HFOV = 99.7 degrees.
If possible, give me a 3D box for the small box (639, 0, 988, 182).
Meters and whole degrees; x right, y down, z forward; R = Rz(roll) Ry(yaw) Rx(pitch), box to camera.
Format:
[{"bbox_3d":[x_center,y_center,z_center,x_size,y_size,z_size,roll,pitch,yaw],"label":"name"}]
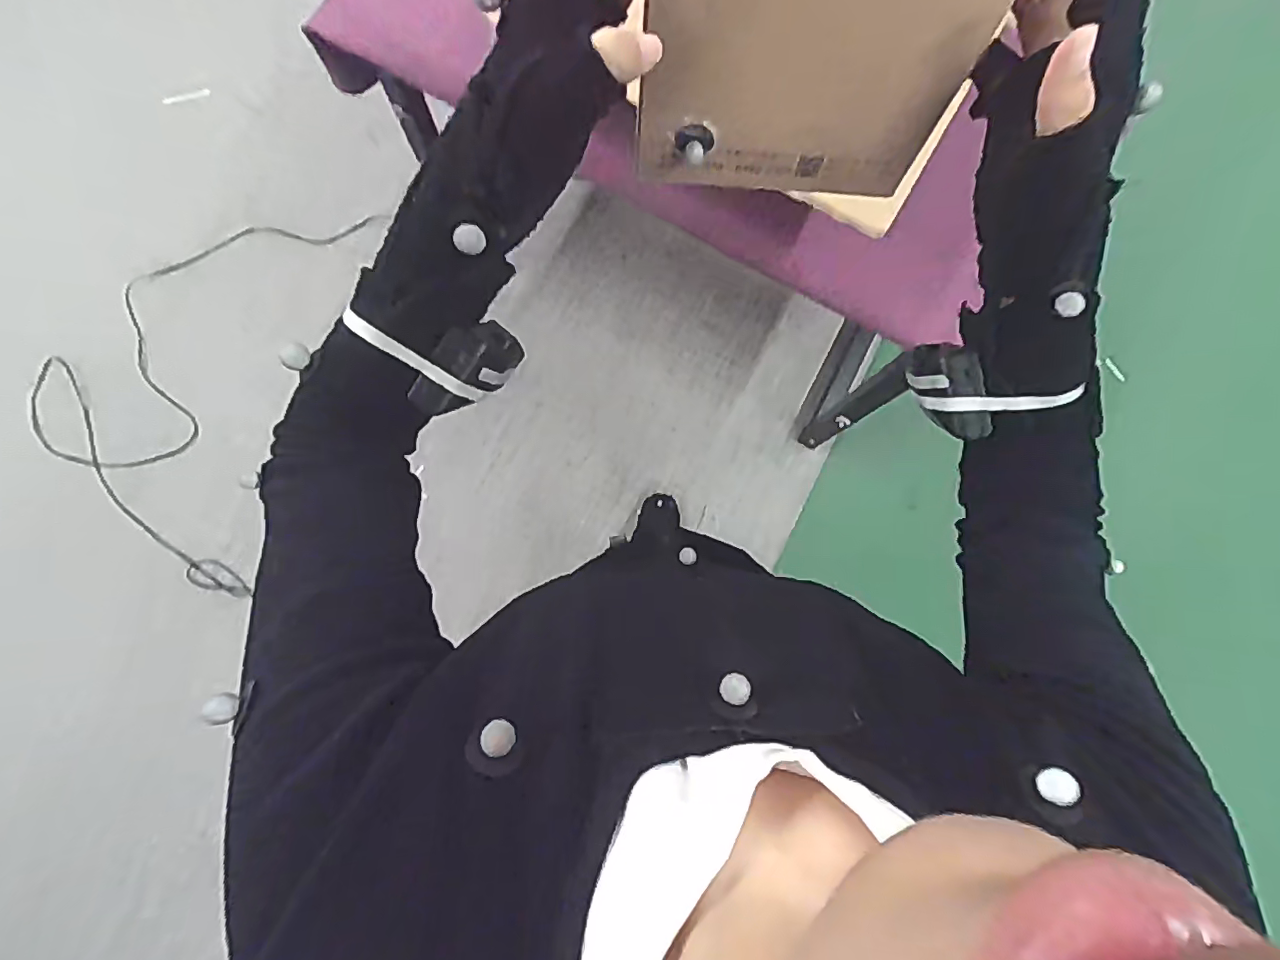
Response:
[{"bbox_3d":[0.087,-0.294,0.292,0.168,0.176,0.179,3,72,-2],"label":"small box"}]
